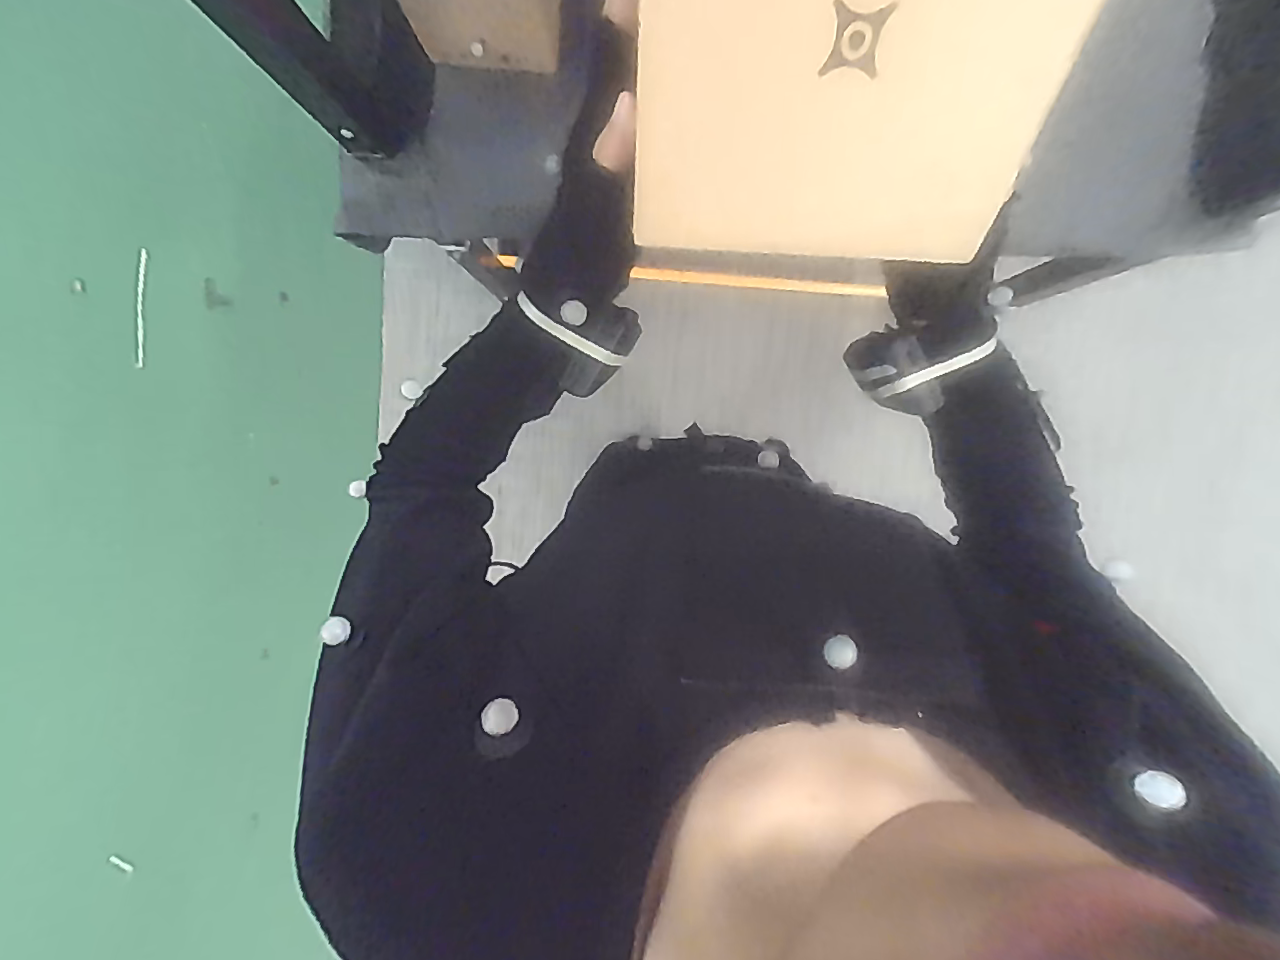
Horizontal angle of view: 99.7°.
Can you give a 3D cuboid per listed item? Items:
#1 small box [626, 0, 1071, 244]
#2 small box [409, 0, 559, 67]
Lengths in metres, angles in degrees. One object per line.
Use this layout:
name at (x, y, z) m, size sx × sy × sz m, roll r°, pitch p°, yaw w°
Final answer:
small box at (0.083, -0.239, 0.258) m, size 0.168 × 0.176 × 0.179 m, roll 3°, pitch 137°, yaw 1°
small box at (-0.186, -0.628, 0.621) m, size 0.168 × 0.176 × 0.179 m, roll 4°, pitch 95°, yaw 0°
